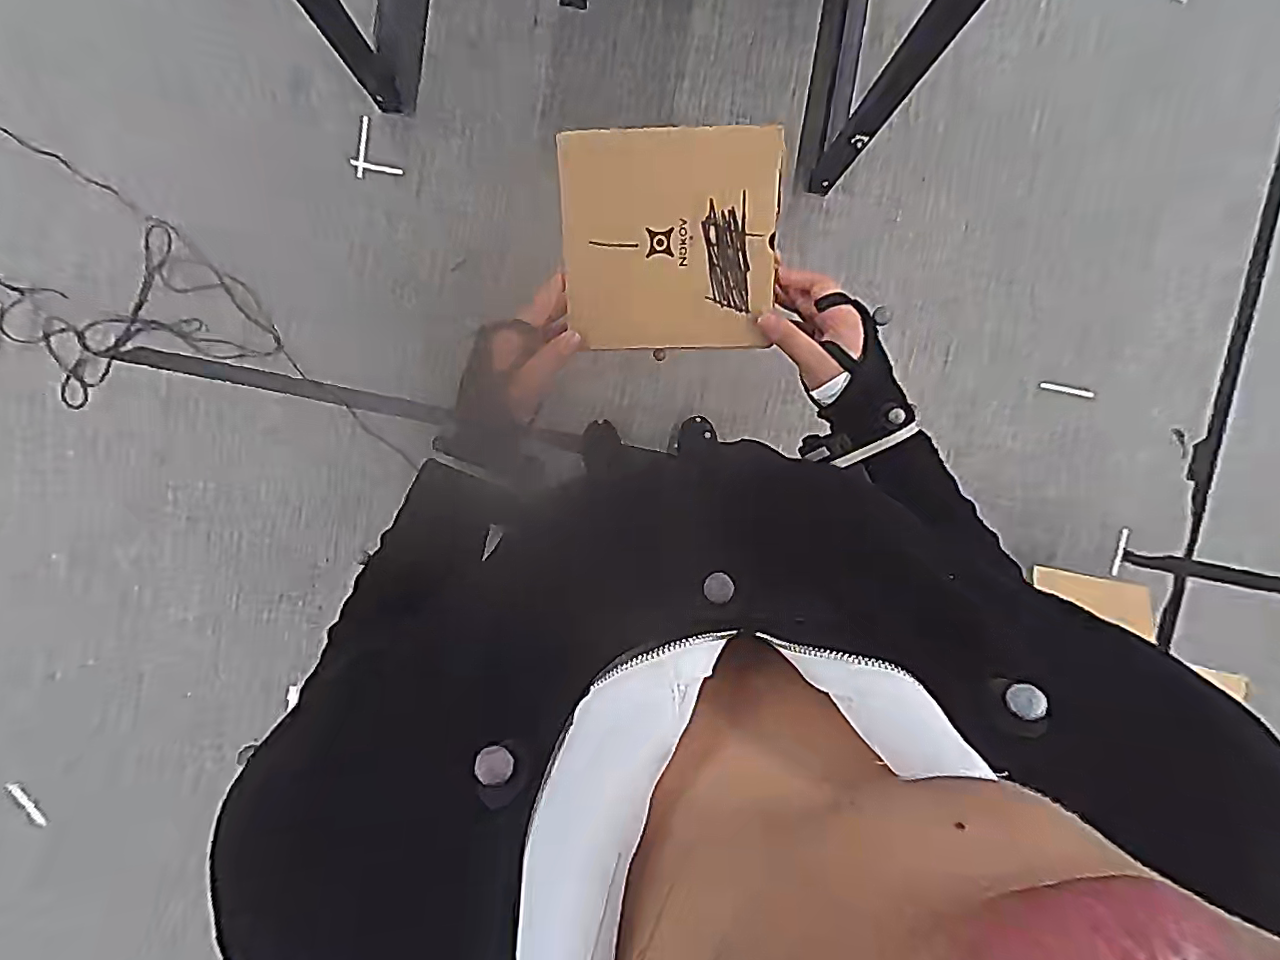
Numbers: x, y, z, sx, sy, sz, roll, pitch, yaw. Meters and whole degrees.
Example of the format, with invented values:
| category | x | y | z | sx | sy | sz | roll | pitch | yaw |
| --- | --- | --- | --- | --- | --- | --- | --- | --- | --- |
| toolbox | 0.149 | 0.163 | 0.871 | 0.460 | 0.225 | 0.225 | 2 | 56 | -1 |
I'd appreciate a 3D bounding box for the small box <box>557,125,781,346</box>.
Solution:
| category | x | y | z | sx | sy | sz | roll | pitch | yaw |
| --- | --- | --- | --- | --- | --- | --- | --- | --- | --- |
| small box | 0.023 | -0.218 | 0.514 | 0.179 | 0.176 | 0.168 | 0 | 107 | 2 |
